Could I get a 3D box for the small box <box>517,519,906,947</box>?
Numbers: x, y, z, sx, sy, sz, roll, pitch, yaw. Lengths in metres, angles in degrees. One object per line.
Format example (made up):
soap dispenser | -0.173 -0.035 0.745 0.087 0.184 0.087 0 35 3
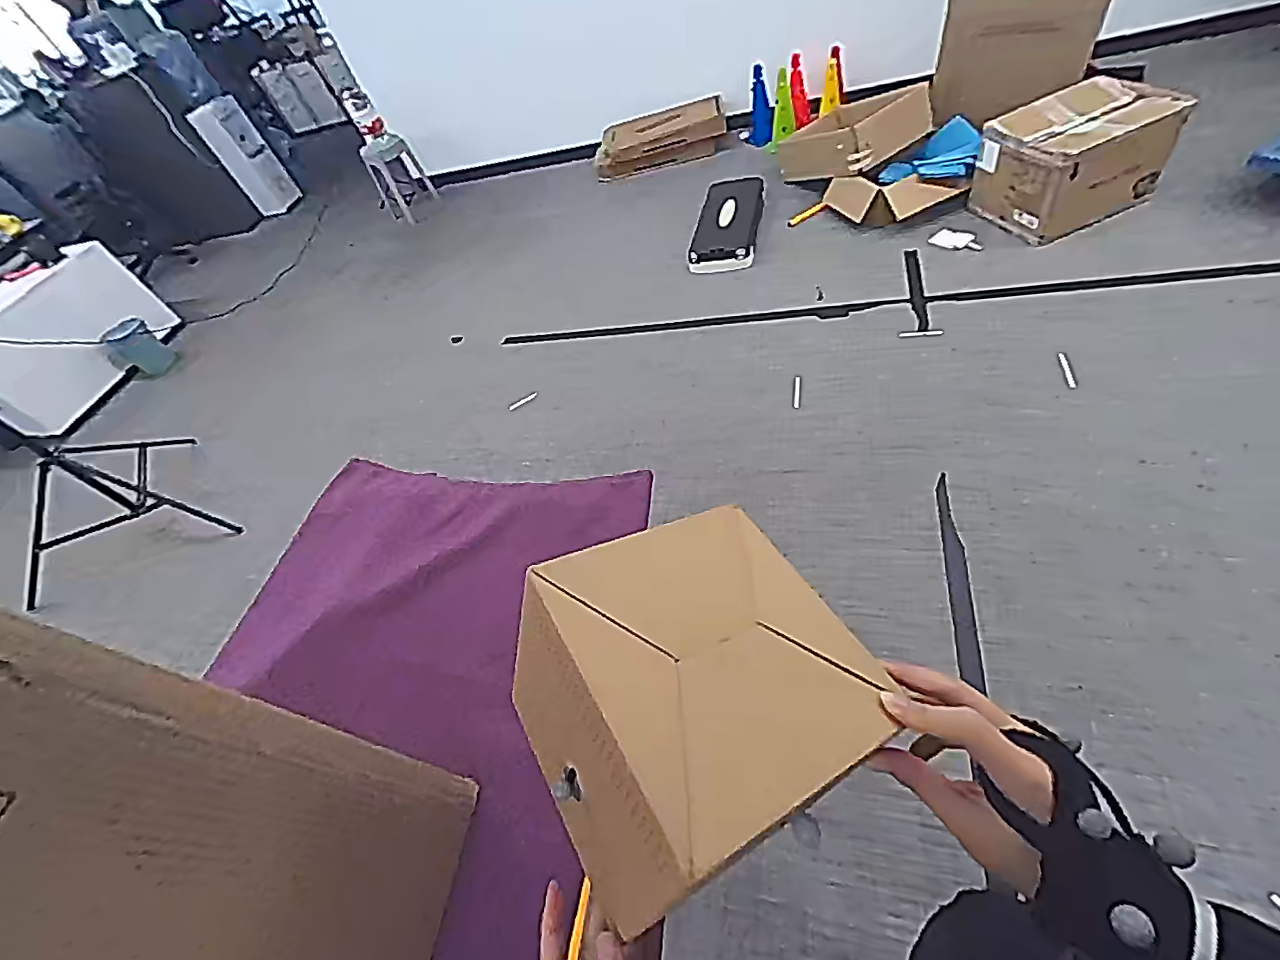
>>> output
small box | 0.031 0.152 0.364 0.168 0.176 0.179 -14 49 -30
